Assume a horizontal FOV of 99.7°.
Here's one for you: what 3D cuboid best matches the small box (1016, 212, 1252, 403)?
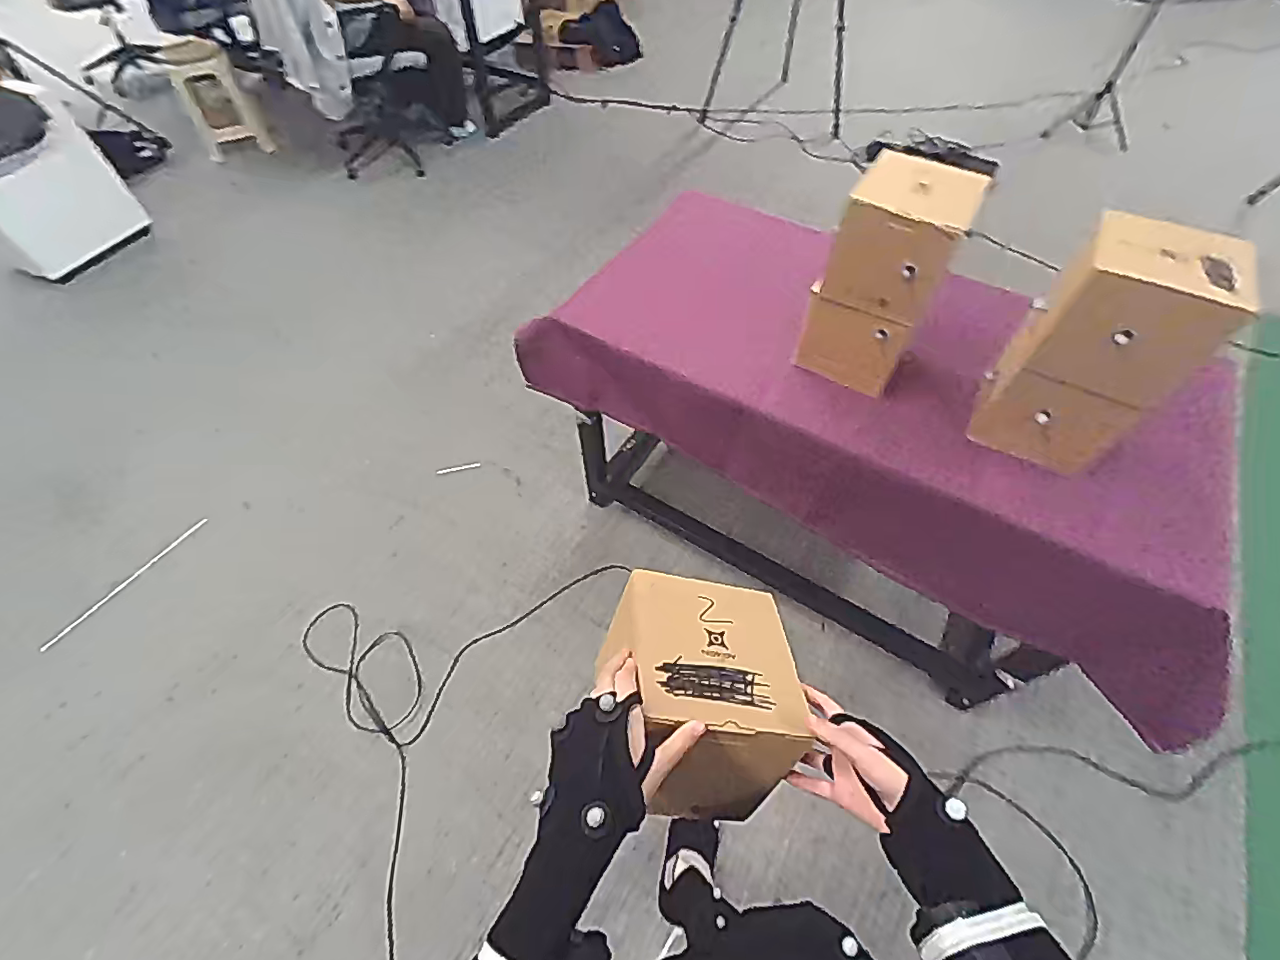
[{"bbox_3d":[0.673,-0.233,0.751,0.179,0.176,0.168,26,58,19],"label":"small box"}]

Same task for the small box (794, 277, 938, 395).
[{"bbox_3d":[0.407,-0.286,1.000,0.179,0.176,0.168,29,59,18],"label":"small box"}]

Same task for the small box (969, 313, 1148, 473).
[{"bbox_3d":[0.677,-0.139,0.887,0.179,0.176,0.168,25,59,18],"label":"small box"}]

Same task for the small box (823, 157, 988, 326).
[{"bbox_3d":[0.412,-0.377,0.865,0.168,0.176,0.179,28,58,18],"label":"small box"}]
